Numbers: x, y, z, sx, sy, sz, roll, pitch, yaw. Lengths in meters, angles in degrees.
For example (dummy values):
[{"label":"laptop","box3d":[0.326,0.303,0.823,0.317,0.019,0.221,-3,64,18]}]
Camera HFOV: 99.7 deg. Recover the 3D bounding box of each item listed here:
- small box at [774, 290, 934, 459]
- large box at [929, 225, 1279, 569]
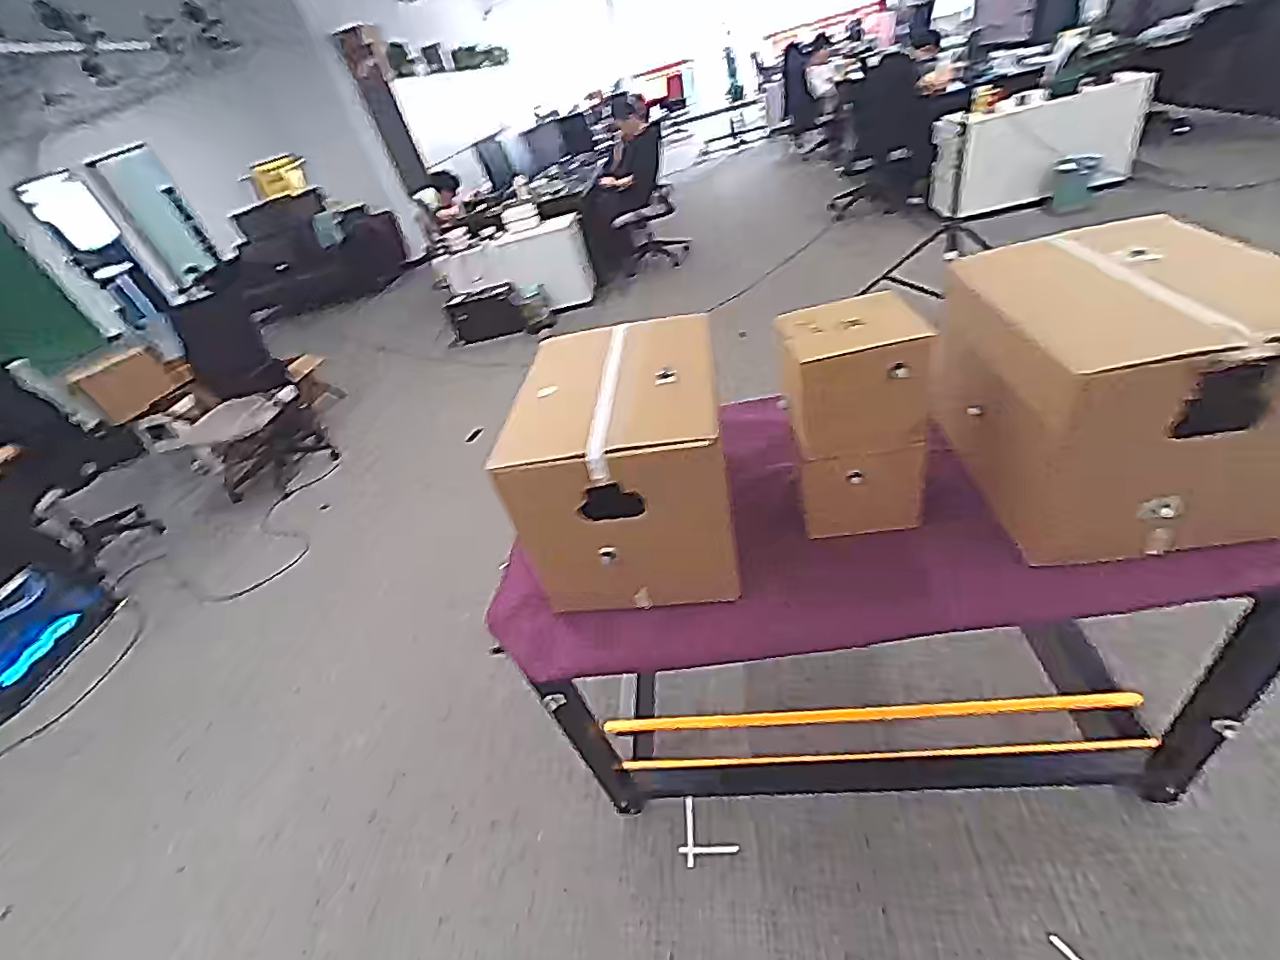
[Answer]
[{"label":"small box","box3d":[0.306,-0.154,0.800,0.179,0.176,0.168,-11,36,9]},{"label":"large box","box3d":[0.664,-0.132,0.792,0.320,0.320,0.408,-9,36,11]}]
